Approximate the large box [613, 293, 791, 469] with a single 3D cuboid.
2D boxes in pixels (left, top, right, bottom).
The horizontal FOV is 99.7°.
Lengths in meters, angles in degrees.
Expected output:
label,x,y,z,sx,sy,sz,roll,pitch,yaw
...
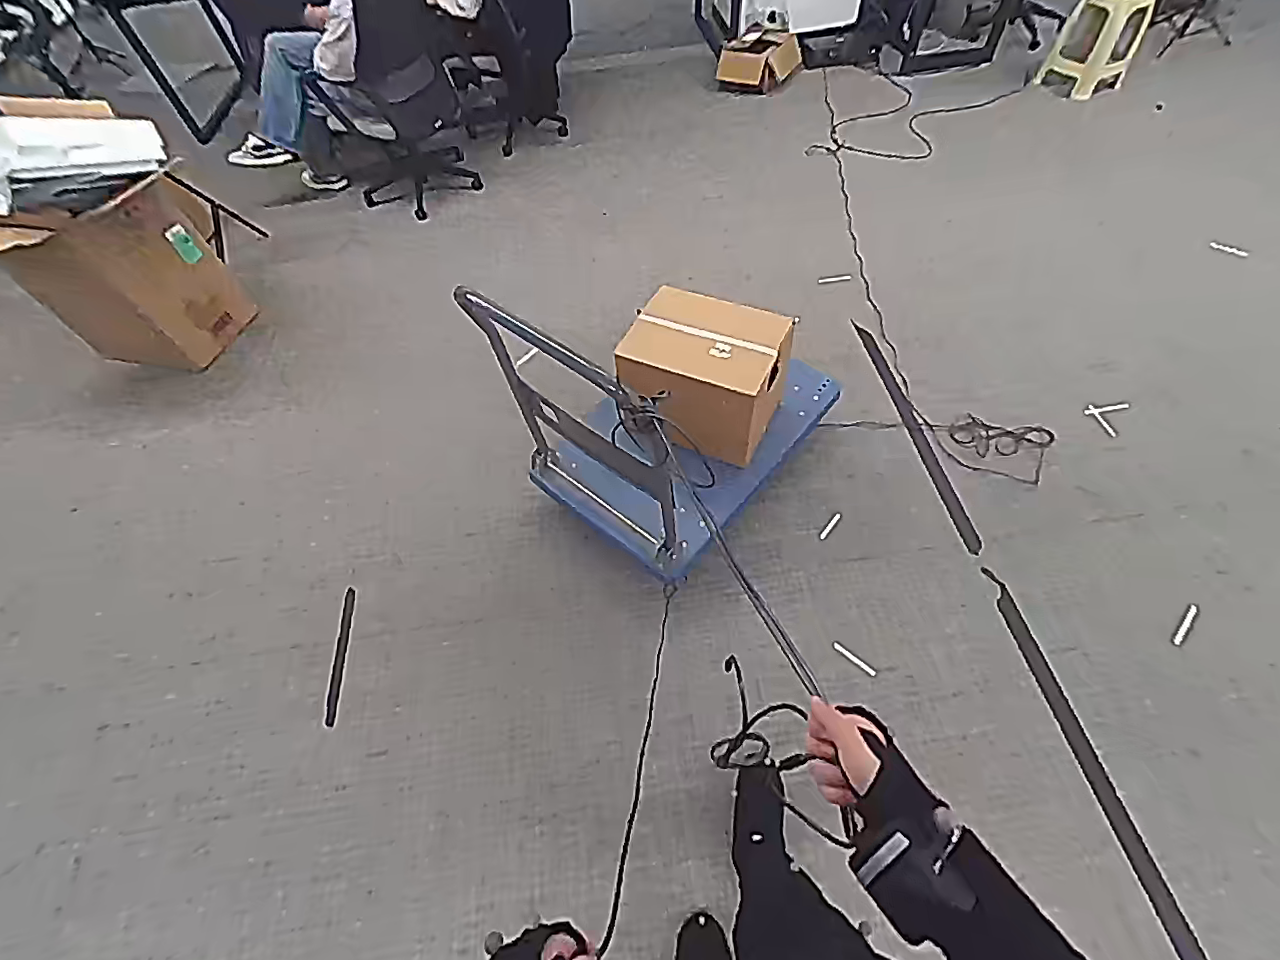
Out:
label,x,y,z,sx,sy,sz,roll,pitch,yaw
large box,0.176,-0.287,1.573,0.408,0.320,0.320,21,60,17
